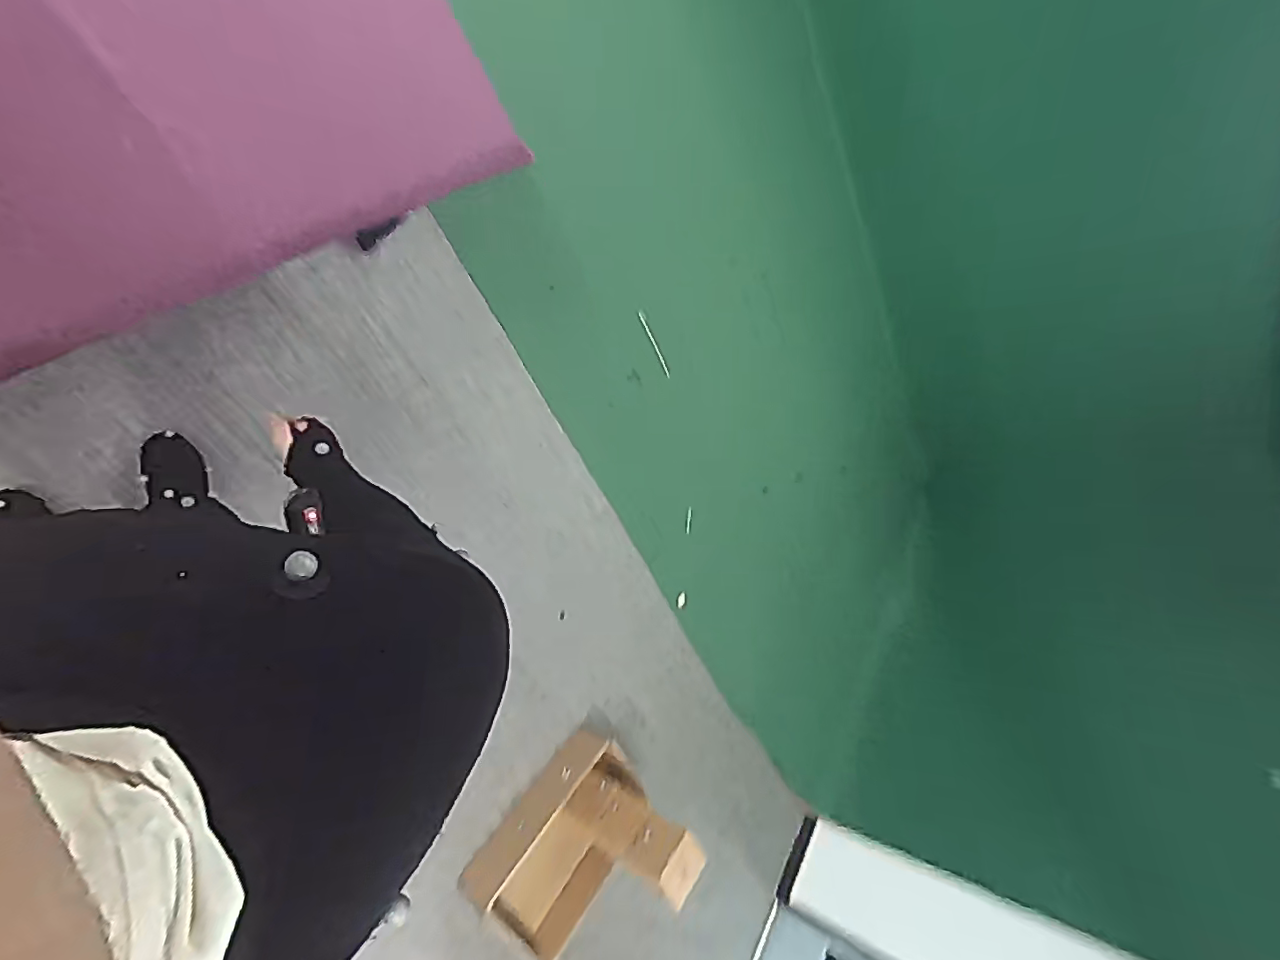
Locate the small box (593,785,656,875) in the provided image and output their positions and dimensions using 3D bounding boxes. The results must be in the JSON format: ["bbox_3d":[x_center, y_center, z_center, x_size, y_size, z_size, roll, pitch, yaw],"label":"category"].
[{"bbox_3d":[-0.029,1.192,1.857,0.168,0.176,0.179,-42,118,-35],"label":"small box"}]

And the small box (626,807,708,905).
[{"bbox_3d":[0.086,1.199,1.739,0.168,0.176,0.179,-42,118,-36],"label":"small box"}]
